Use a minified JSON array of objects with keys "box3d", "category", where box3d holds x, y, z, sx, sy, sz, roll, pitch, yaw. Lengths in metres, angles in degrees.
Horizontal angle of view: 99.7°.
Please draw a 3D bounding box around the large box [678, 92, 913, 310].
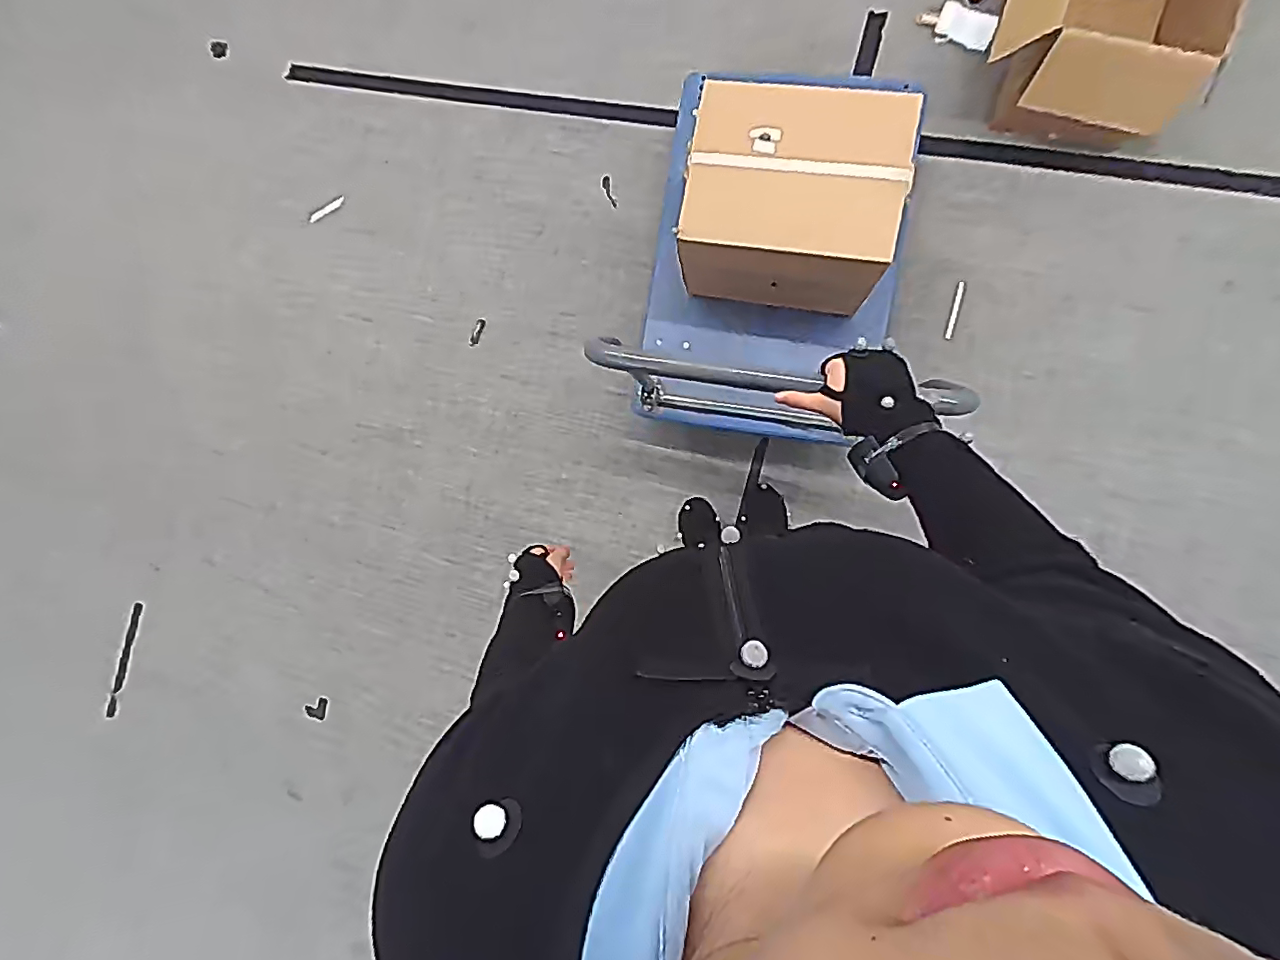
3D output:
[{"box3d":[0.318,-0.583,1.177,0.408,0.320,0.320,10,90,10],"category":"large box"}]
